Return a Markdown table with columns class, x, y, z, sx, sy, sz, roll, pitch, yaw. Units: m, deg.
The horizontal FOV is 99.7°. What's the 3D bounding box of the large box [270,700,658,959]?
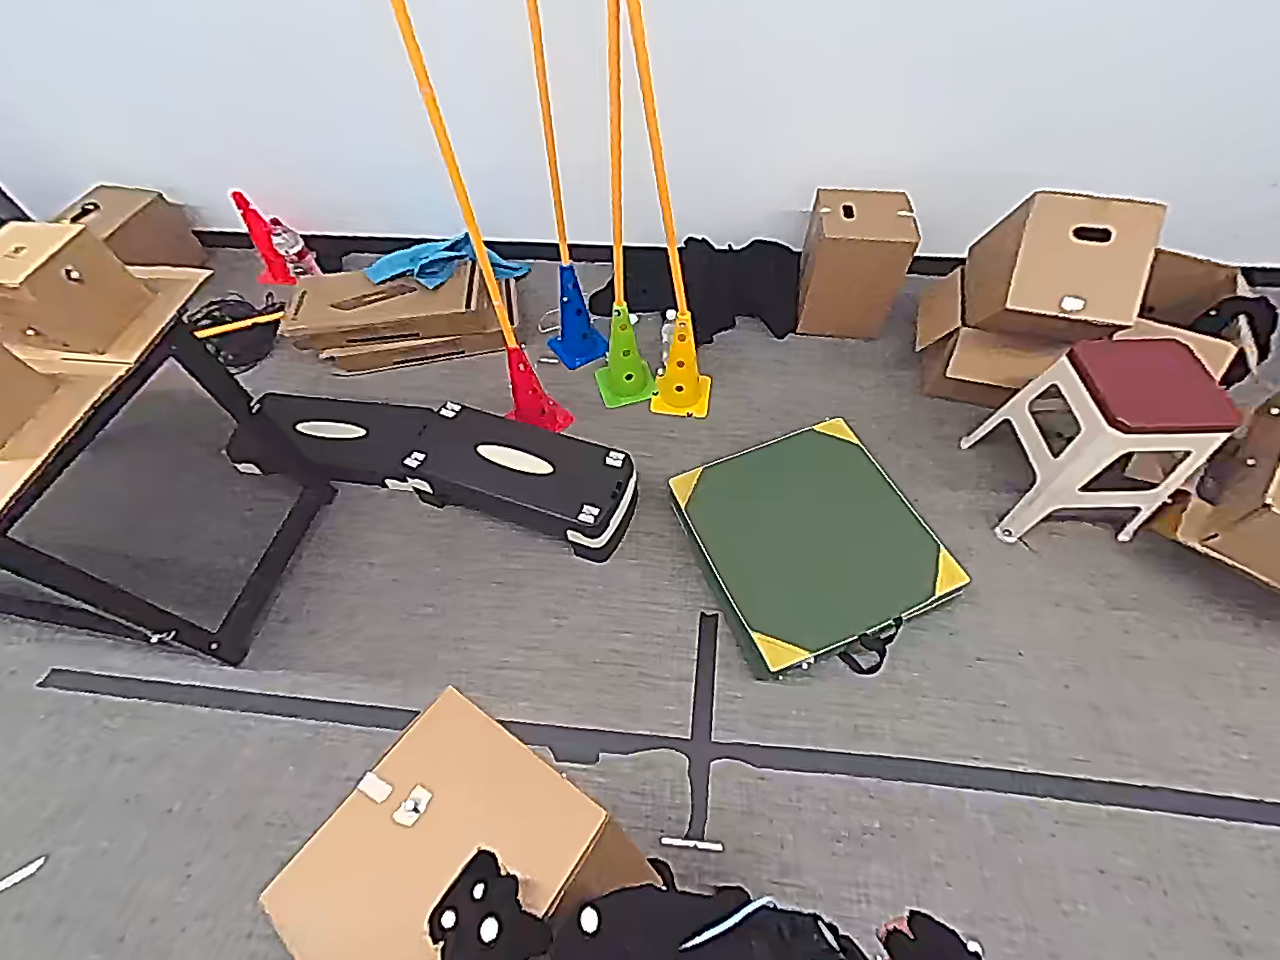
| class | x | y | z | sx | sy | sz | roll | pitch | yaw |
| --- | --- | --- | --- | --- | --- | --- | --- | --- | --- |
| large box | -0.214 | 0.598 | 0.789 | 0.320 | 0.408 | 0.320 | 21 | 55 | 32 |
